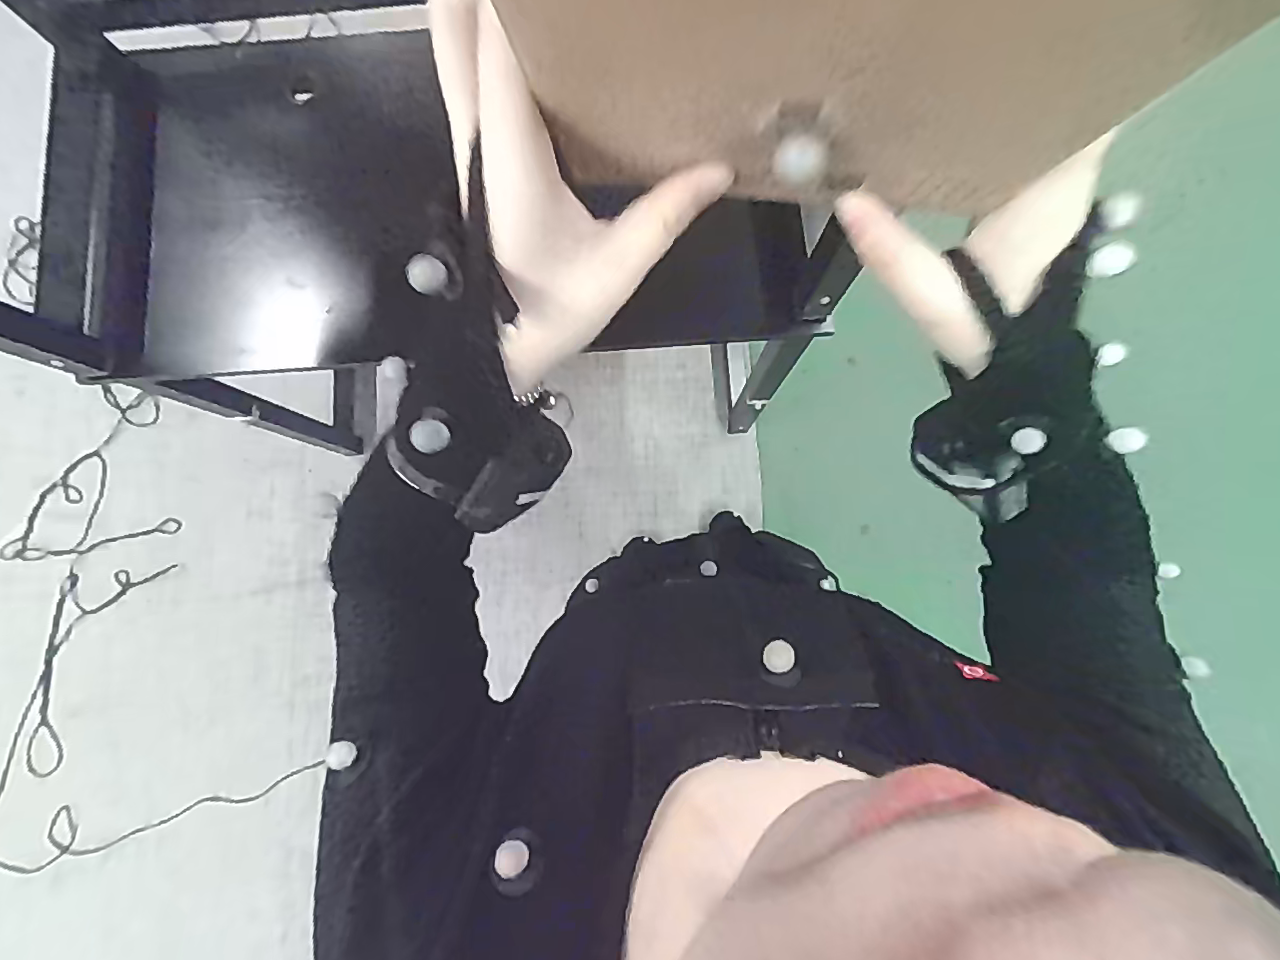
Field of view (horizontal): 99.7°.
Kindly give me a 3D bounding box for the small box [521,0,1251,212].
[{"bbox_3d":[0.054,-0.192,0.128,0.168,0.176,0.179,7,97,5],"label":"small box"}]
